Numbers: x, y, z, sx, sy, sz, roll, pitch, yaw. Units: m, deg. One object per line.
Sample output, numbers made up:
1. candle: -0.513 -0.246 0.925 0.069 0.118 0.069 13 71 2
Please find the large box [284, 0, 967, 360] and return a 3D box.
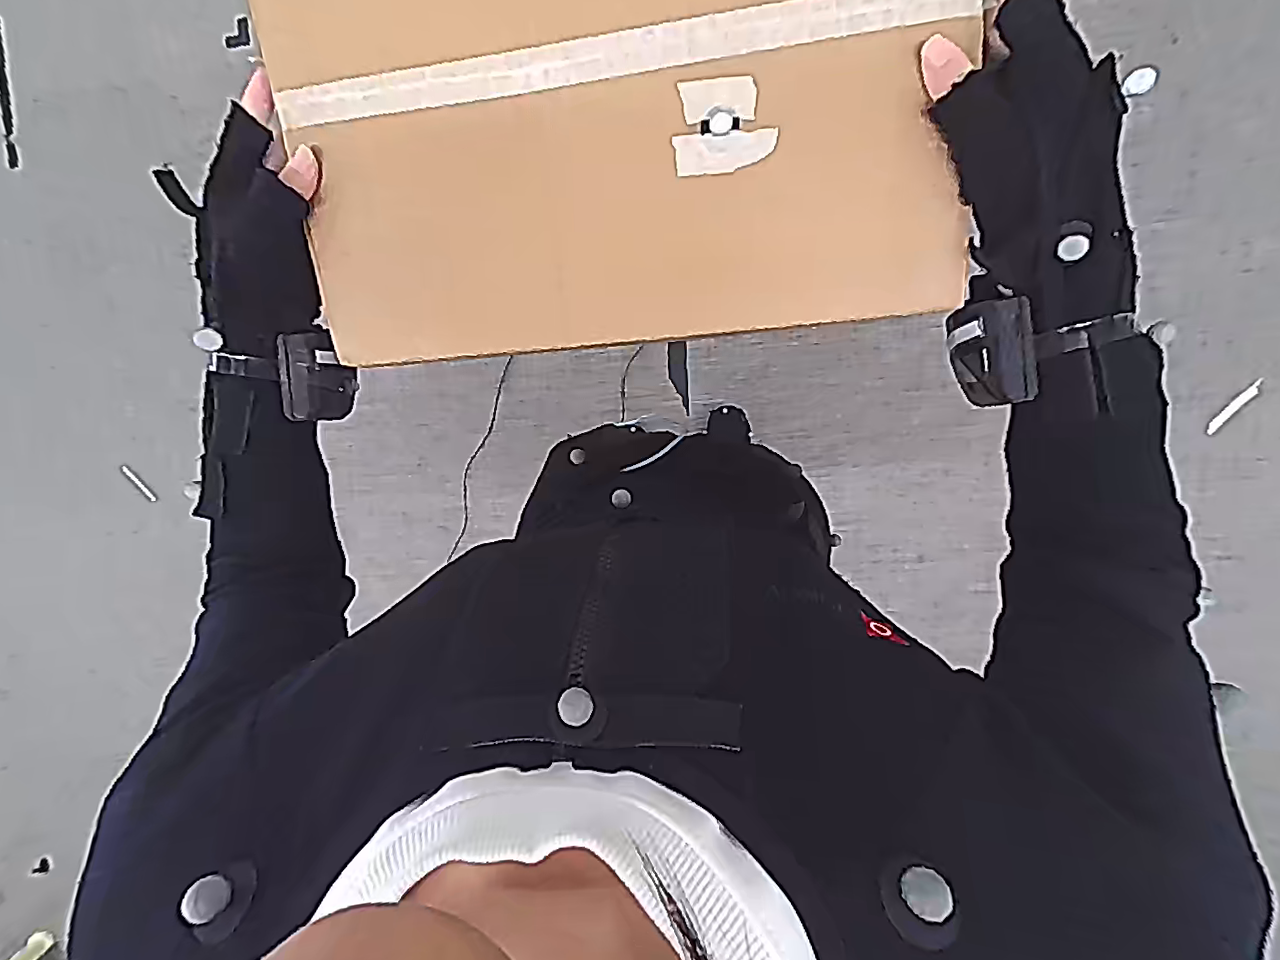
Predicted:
1. large box: -0.002 -0.287 0.464 0.408 0.320 0.320 -4 105 7
